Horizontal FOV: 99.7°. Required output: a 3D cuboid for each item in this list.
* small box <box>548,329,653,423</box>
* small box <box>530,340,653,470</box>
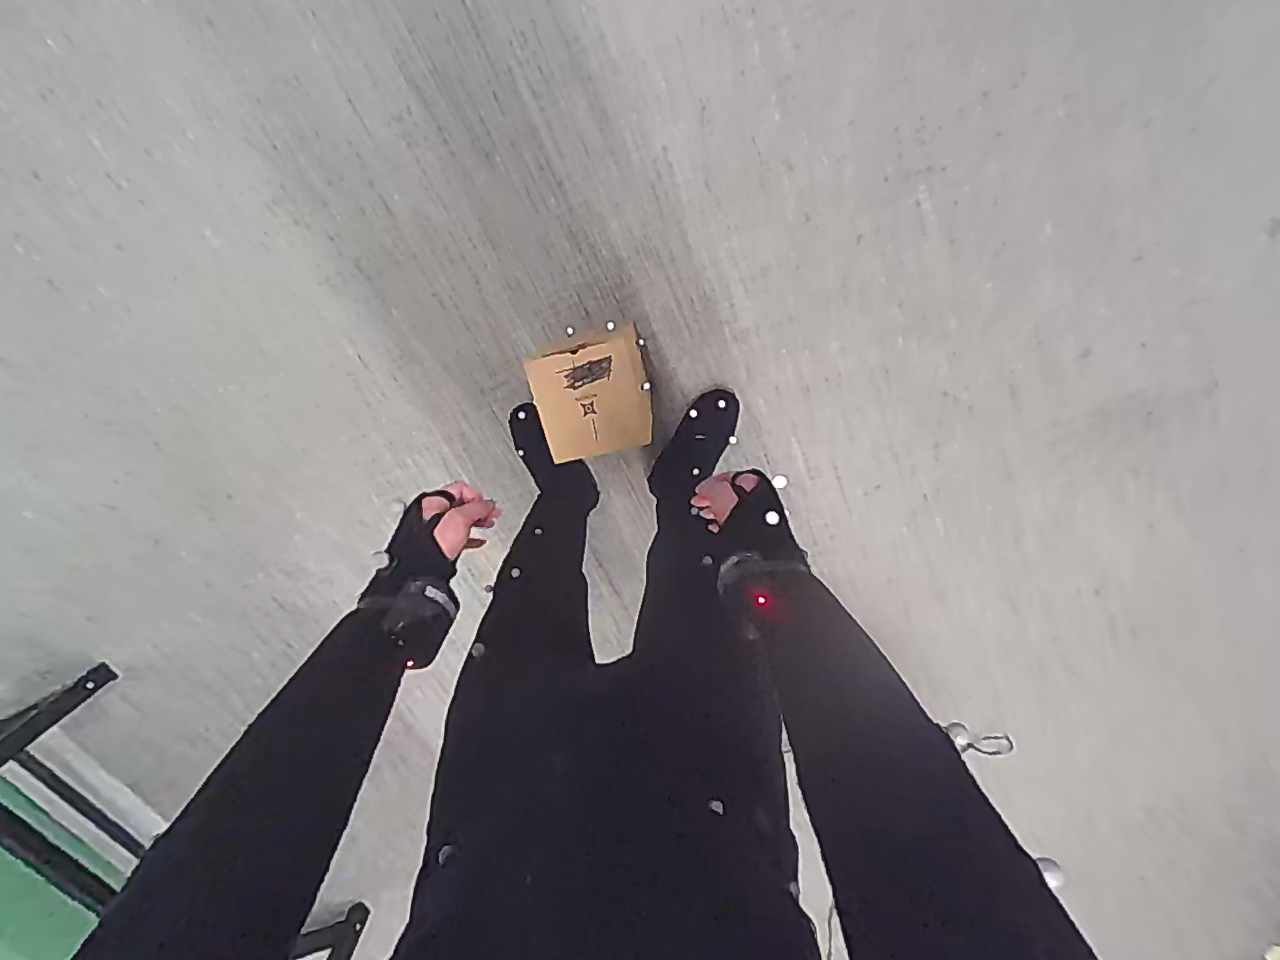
[{"bbox_3d":[-0.072,-0.199,1.087,0.168,0.176,0.179,-12,112,7],"label":"small box"},{"bbox_3d":[-0.074,-0.138,0.934,0.168,0.176,0.179,-11,112,6],"label":"small box"}]
